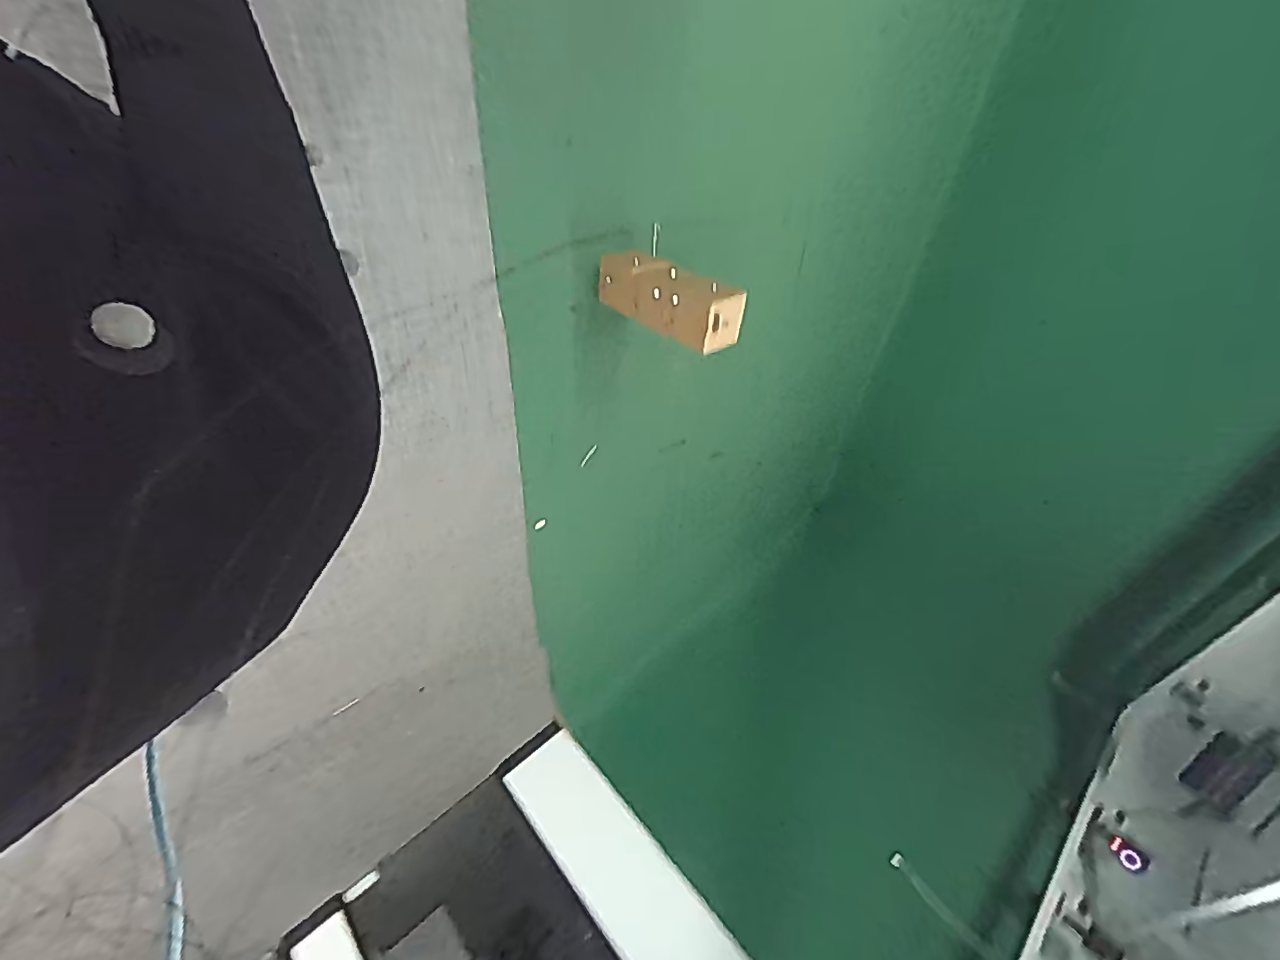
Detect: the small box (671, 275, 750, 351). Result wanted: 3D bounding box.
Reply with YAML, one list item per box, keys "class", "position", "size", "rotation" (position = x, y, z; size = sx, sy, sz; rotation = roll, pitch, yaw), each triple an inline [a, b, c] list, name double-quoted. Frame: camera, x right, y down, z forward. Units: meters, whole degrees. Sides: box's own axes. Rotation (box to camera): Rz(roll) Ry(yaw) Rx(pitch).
- class: "small box"
  position: [0.218, -0.537, 1.727]
  size: [0.179, 0.176, 0.168]
  rotation: [-28, 141, -34]

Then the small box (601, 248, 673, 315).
- class: "small box"
  position: [-0.013, -0.702, 1.895]
  size: [0.179, 0.176, 0.168]
  rotation: [-26, 139, -34]
